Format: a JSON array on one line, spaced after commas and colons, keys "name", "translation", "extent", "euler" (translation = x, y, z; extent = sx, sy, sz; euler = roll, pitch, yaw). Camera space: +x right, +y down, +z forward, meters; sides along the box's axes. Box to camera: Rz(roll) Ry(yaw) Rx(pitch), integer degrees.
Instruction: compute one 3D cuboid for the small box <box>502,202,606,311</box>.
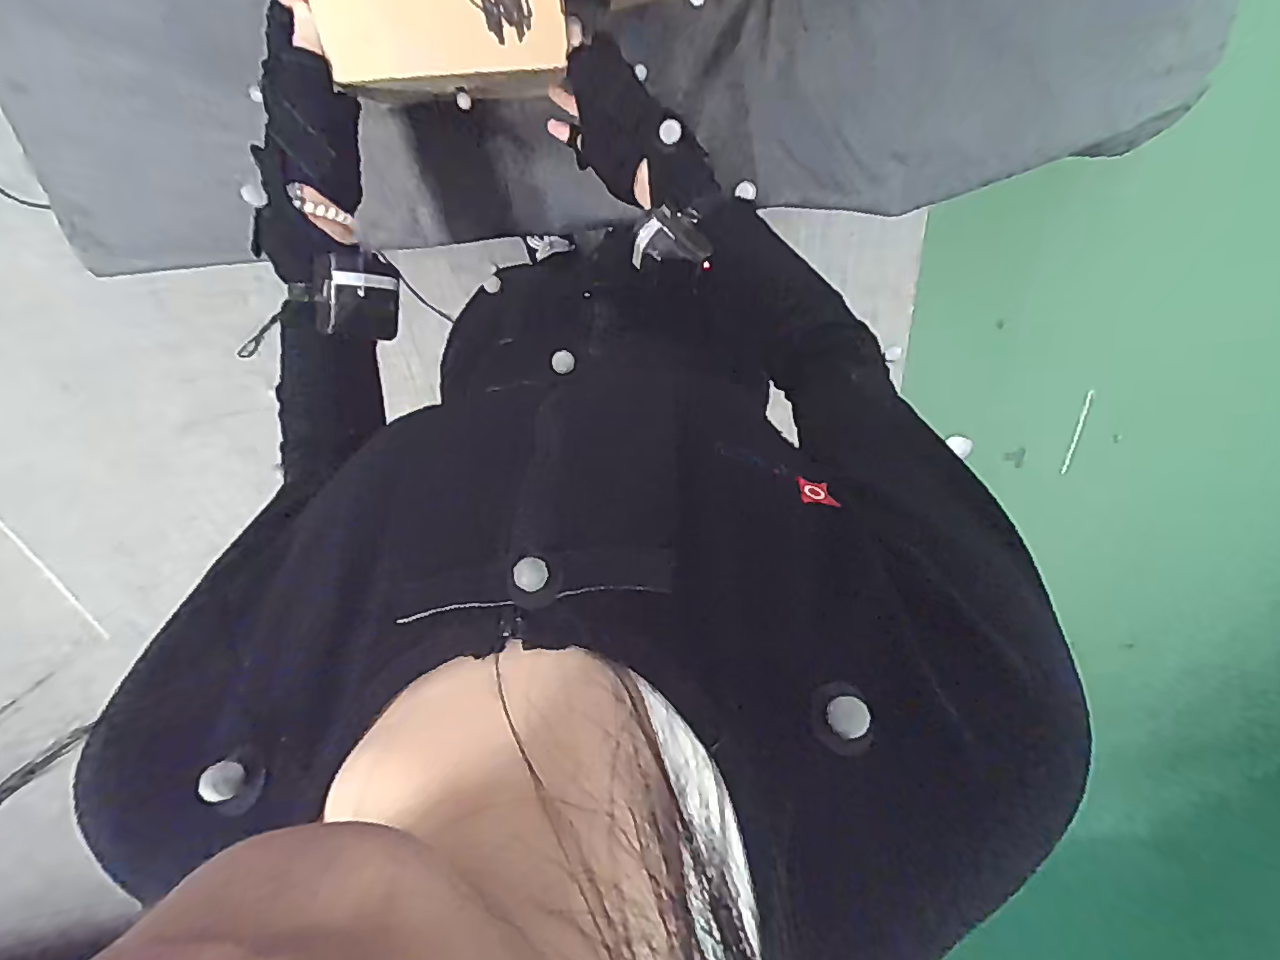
[{"name": "small box", "translation": [-0.200, -0.513, 1.237], "extent": [0.179, 0.176, 0.168], "euler": [25, 124, -2]}]
